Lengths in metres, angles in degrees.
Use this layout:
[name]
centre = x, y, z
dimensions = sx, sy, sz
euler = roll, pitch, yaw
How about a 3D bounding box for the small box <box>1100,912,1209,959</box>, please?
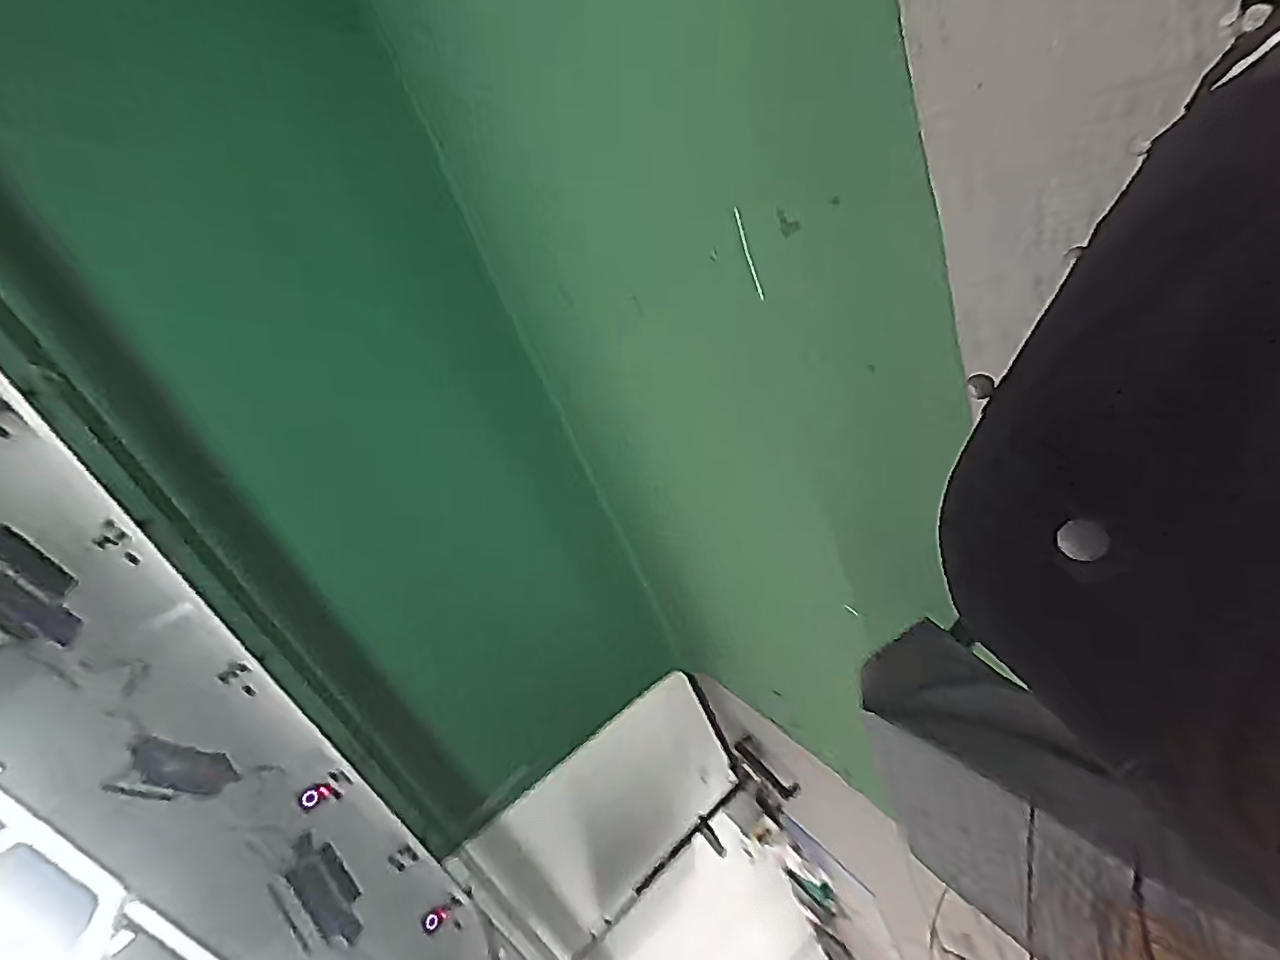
[small box]
centre = 0.848, 0.859, 0.861
dimensions = 0.168, 0.176, 0.179
euler = 16, 134, 57
